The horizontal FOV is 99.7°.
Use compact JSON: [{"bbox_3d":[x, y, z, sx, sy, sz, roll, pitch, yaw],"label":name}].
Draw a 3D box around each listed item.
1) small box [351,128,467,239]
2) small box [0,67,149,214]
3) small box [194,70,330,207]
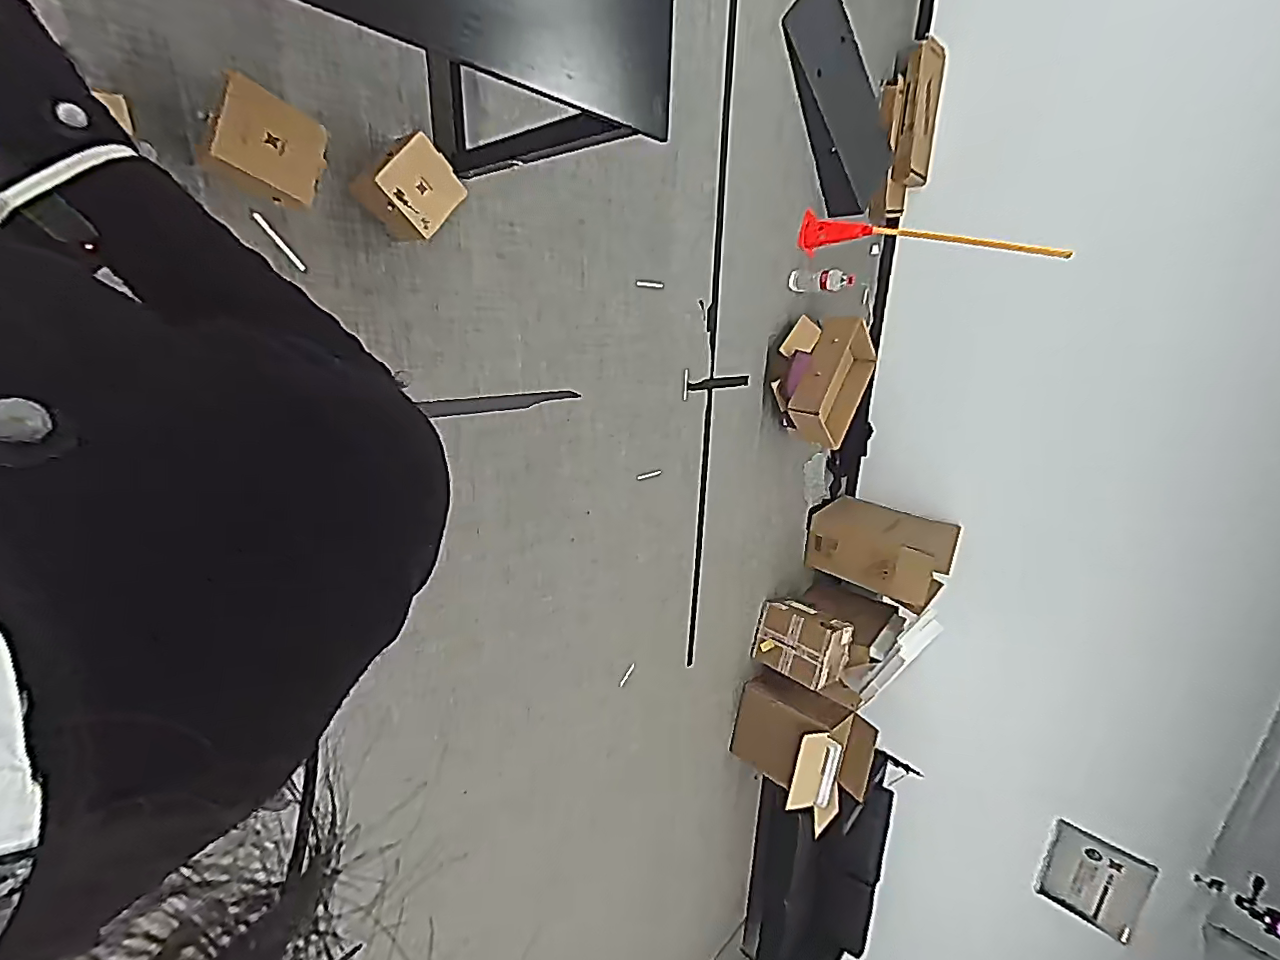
[{"bbox_3d":[-0.573,-0.724,1.334,0.179,0.176,0.168,-59,138,-16],"label":"small box"},{"bbox_3d":[-0.982,-0.567,0.927,0.168,0.176,0.179,-17,117,-44],"label":"small box"},{"bbox_3d":[-0.780,-0.688,1.115,0.179,0.176,0.168,14,92,-49],"label":"small box"}]
